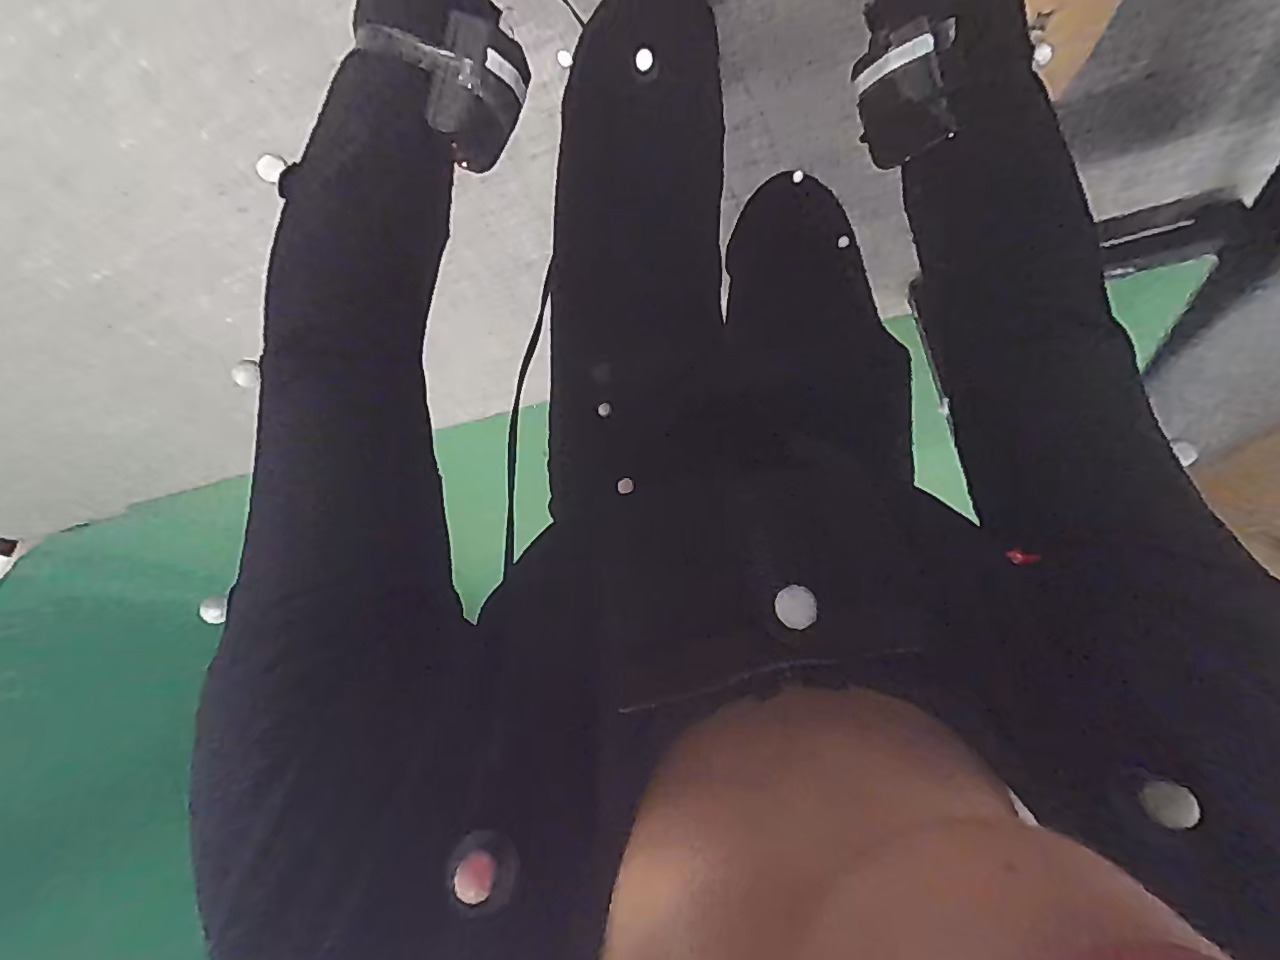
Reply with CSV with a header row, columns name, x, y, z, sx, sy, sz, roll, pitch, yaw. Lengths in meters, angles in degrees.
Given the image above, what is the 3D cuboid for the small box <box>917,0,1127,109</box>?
name,x,y,z,sx,sy,sz,roll,pitch,yaw
small box,0.472,-0.603,0.675,0.168,0.176,0.179,-1,151,1
